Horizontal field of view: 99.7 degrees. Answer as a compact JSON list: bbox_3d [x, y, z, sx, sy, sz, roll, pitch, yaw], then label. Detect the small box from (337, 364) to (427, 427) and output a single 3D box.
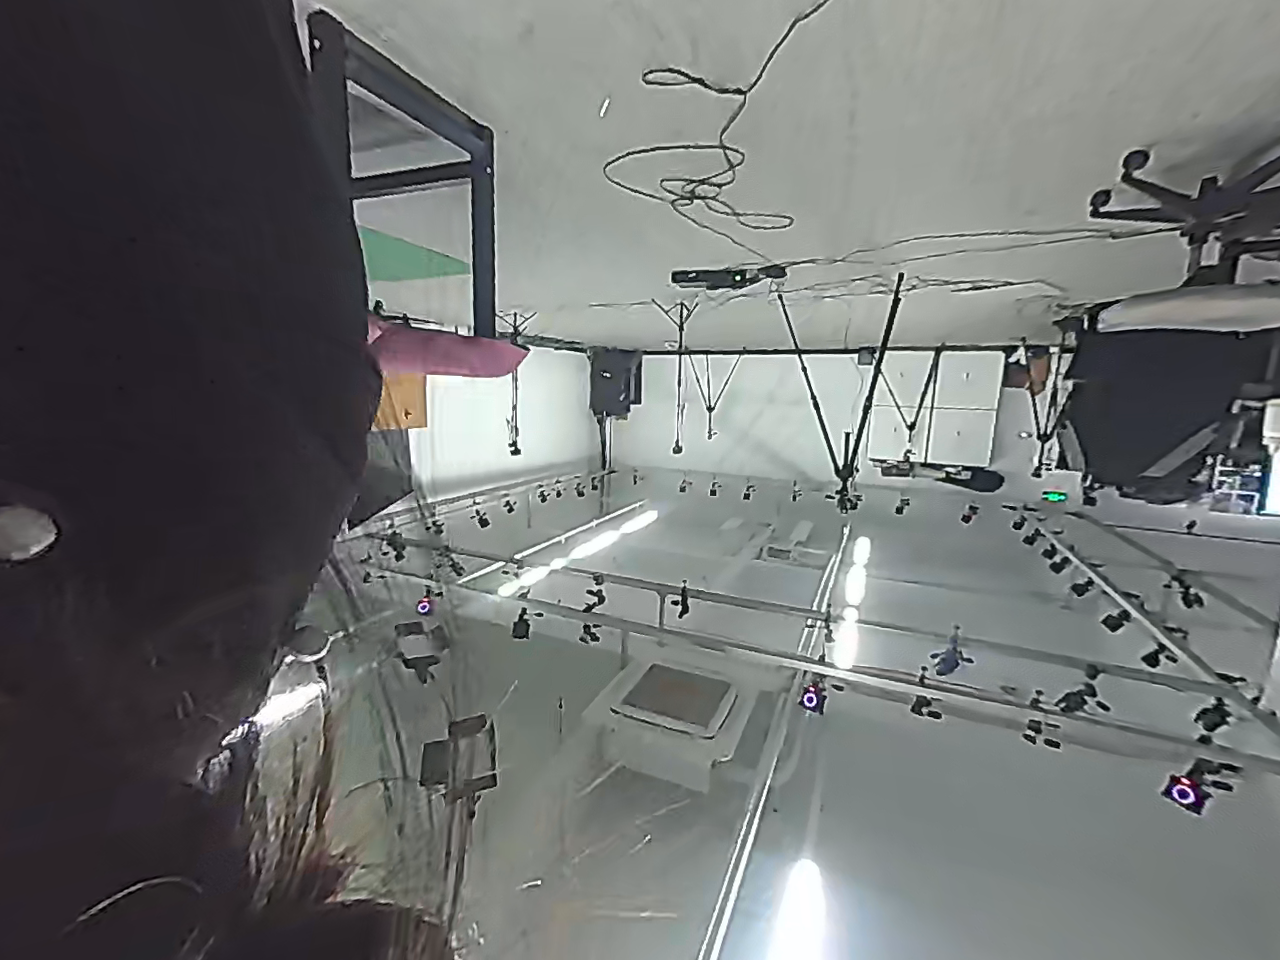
[{"bbox_3d":[-0.739,-0.245,1.549,0.168,0.176,0.179,6,-169,24],"label":"small box"}]
